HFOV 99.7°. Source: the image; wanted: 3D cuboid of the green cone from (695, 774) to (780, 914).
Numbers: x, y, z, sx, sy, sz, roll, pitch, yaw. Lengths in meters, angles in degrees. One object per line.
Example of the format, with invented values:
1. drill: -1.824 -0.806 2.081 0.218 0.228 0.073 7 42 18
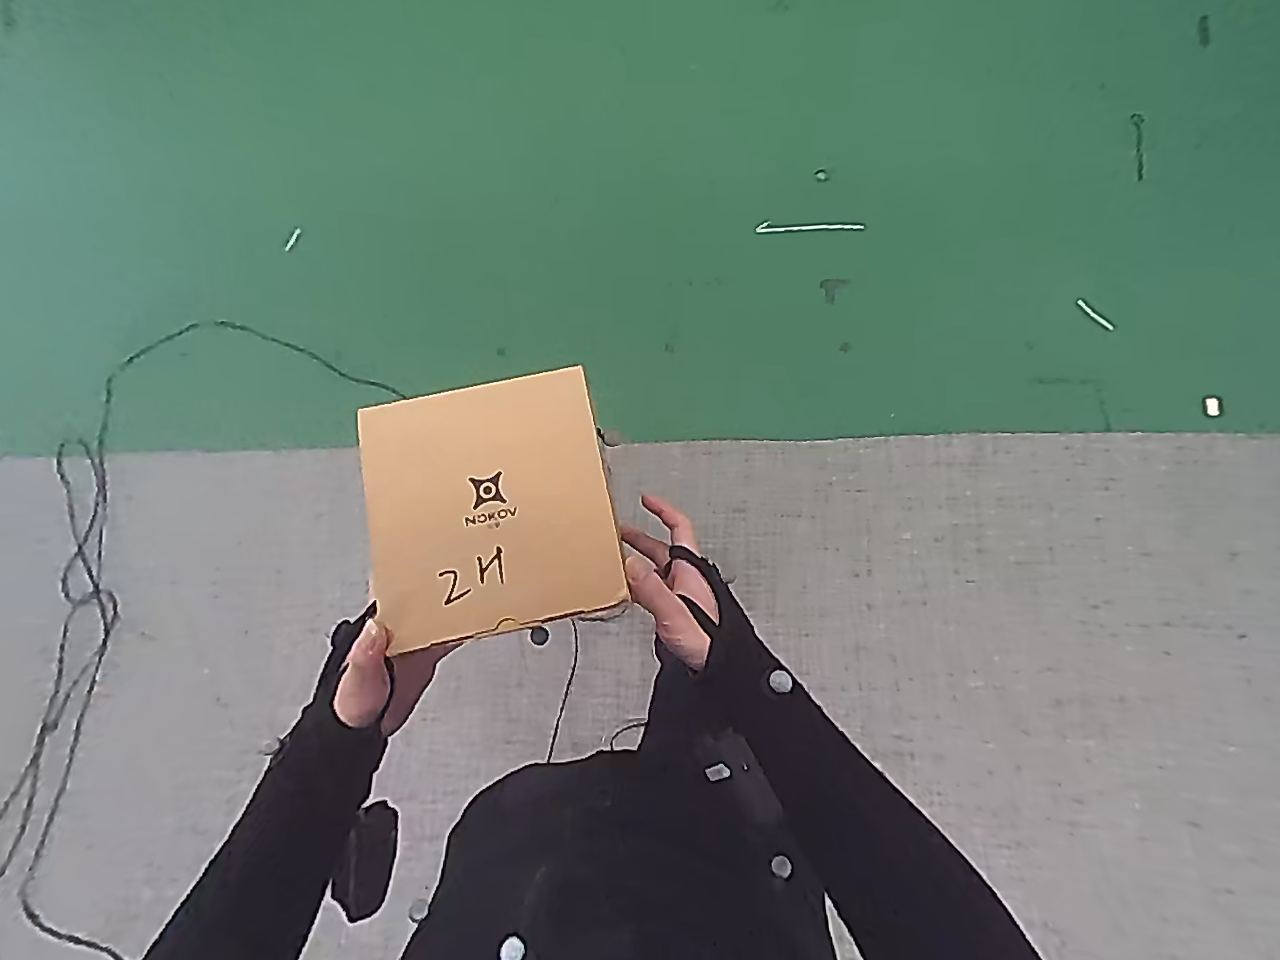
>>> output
1. green cone: 0.221 0.790 1.146 0.202 0.368 0.200 -1 78 5

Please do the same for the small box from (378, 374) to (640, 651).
1. small box: -0.095 0.035 0.454 0.168 0.176 0.179 -11 78 -2
